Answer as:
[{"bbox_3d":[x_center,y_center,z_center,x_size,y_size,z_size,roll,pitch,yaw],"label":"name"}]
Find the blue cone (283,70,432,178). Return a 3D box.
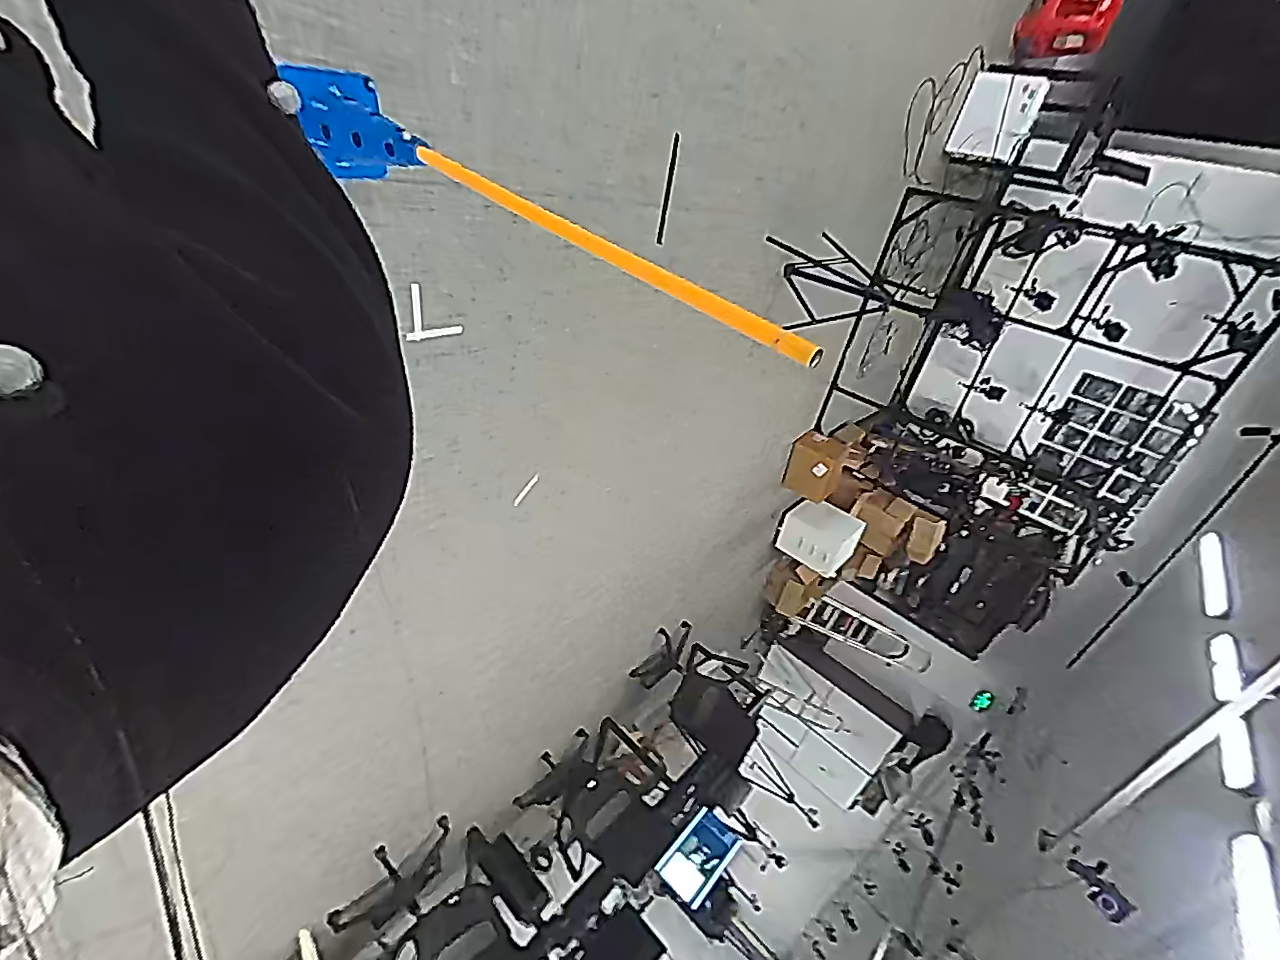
[{"bbox_3d":[-0.530,-0.687,1.084,0.193,0.380,0.192,-27,137,-41],"label":"blue cone"}]
